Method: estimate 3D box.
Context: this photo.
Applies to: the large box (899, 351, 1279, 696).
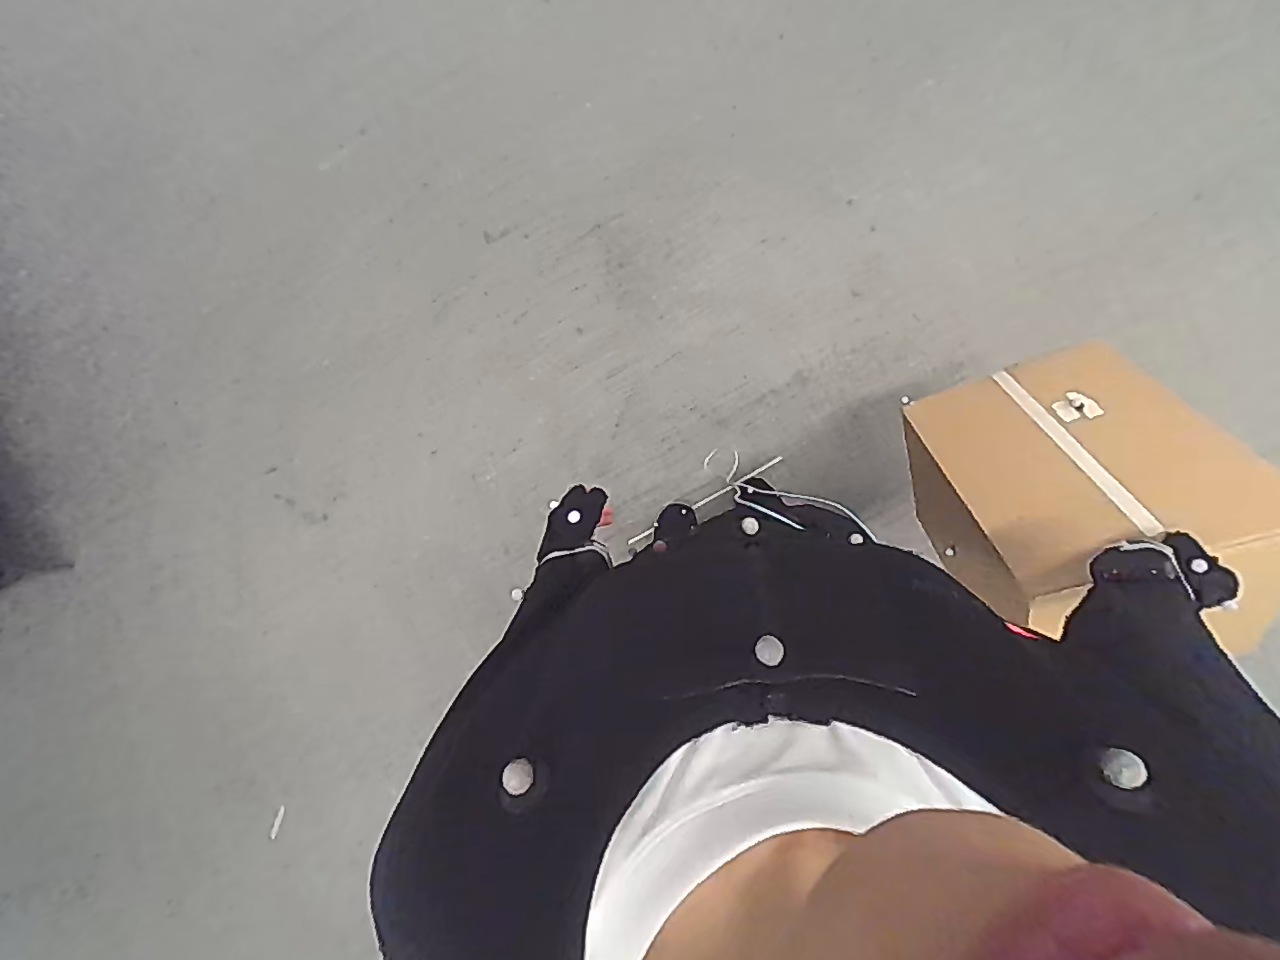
[{"bbox_3d":[0.668,0.066,0.871,0.320,0.408,0.320,-18,130,14],"label":"large box"}]
